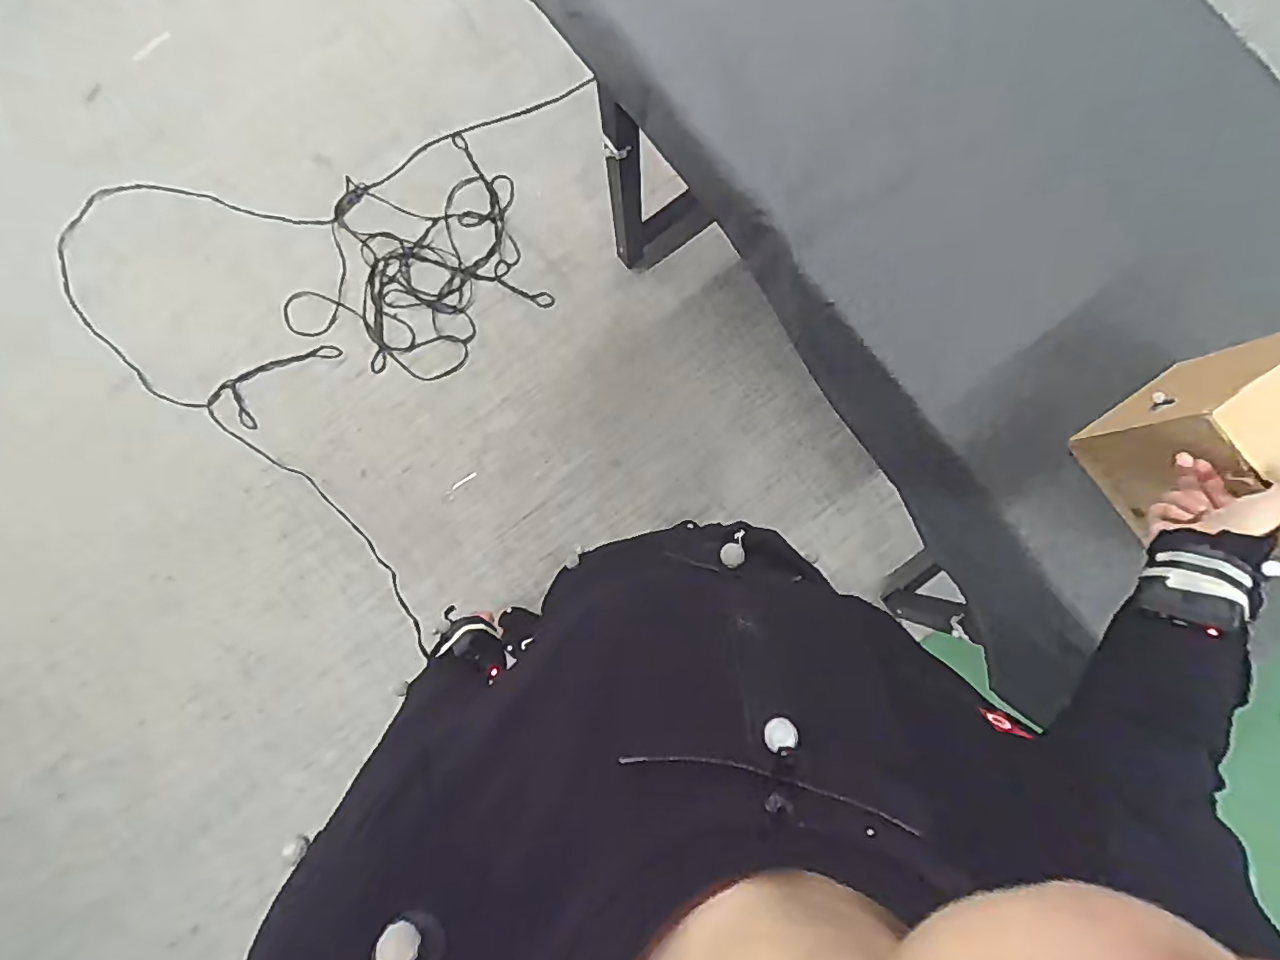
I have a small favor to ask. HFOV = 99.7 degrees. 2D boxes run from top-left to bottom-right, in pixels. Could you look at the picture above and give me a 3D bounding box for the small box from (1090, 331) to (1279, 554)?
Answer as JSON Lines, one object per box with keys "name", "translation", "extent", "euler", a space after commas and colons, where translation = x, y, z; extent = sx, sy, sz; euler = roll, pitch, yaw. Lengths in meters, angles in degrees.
{"name": "small box", "translation": [0.617, -0.034, 0.549], "extent": [0.179, 0.176, 0.168], "euler": [-35, 86, -4]}
